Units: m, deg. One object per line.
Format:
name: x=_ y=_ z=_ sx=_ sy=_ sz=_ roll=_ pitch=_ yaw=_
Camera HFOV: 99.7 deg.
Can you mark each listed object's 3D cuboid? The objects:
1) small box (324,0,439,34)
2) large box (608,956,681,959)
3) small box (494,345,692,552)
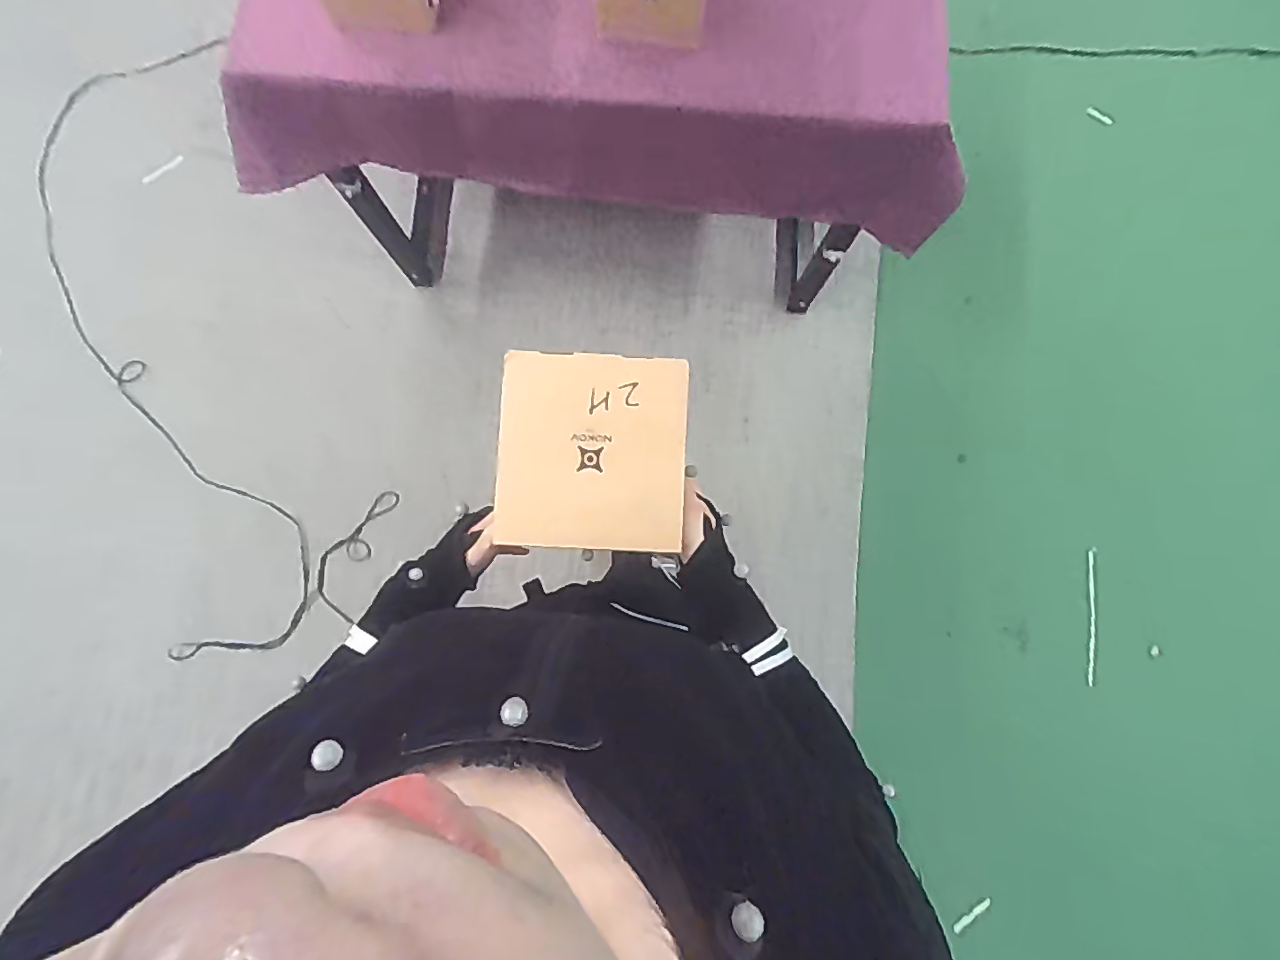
small box: x=-0.417 y=-0.847 z=0.843 sx=0.179 sy=0.176 sz=0.168 roll=6 pitch=81 yaw=0
large box: x=0.059 y=1.372 z=1.180 sx=0.320 sy=0.320 sz=0.408 roll=6 pitch=82 yaw=0
small box: x=-0.042 y=-0.023 z=0.556 sx=0.168 sy=0.176 sz=0.179 roll=4 pitch=85 yaw=-1
